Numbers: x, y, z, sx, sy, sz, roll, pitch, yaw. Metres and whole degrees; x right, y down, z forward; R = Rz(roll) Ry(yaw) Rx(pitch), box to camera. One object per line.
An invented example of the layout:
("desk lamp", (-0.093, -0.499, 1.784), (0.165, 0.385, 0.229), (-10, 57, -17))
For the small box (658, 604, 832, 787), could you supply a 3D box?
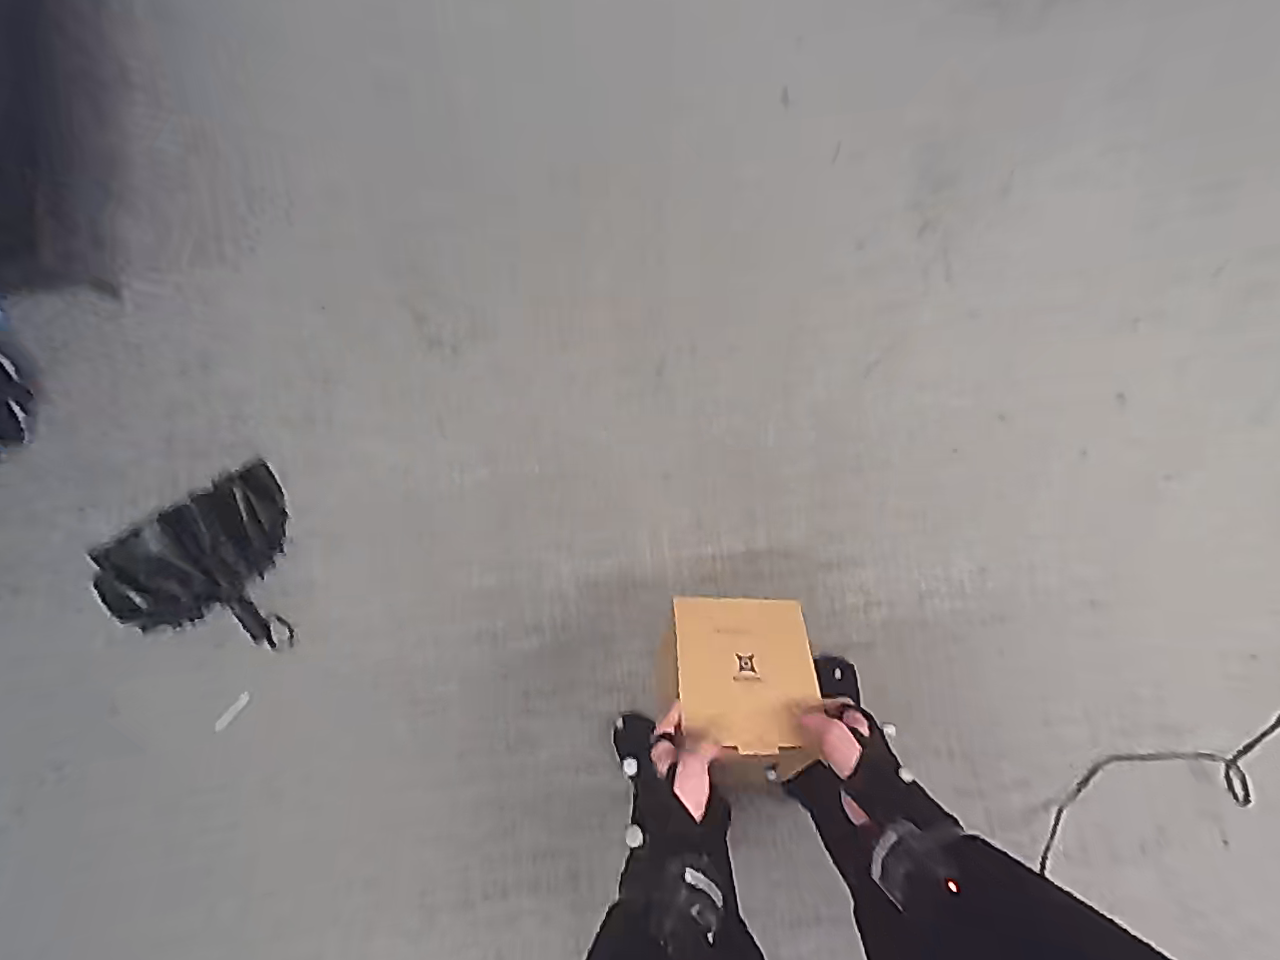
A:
("small box", (0.115, 0.273, 0.676), (0.168, 0.176, 0.179), (3, 49, -5))
